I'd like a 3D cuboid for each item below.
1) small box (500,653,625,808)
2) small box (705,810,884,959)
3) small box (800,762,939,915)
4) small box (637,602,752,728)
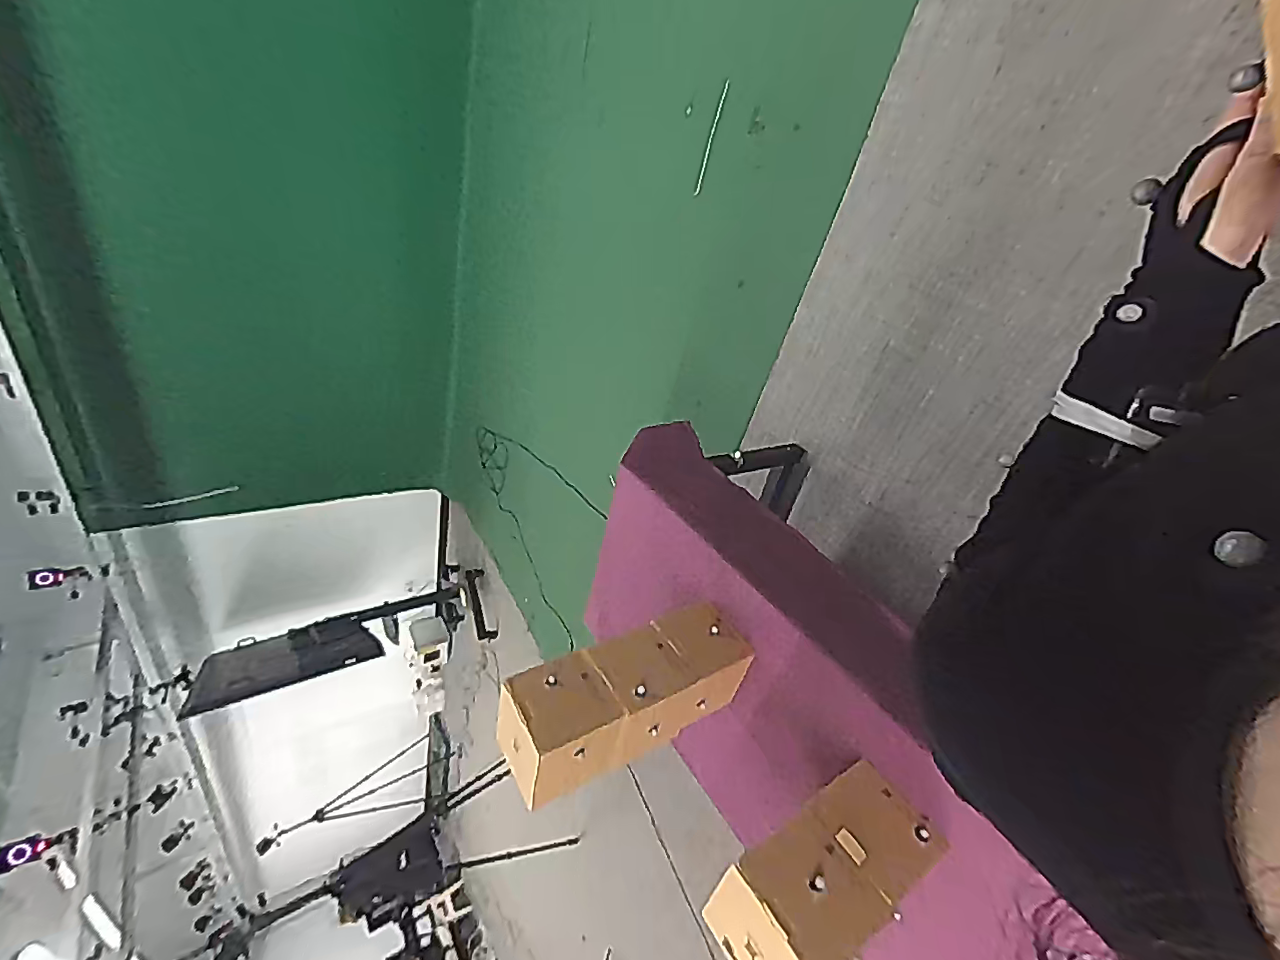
[{"bbox_3d":[-0.146,0.456,1.009,0.168,0.176,0.179,43,132,41],"label":"small box"},{"bbox_3d":[0.230,0.641,0.809,0.168,0.176,0.179,45,131,41],"label":"small box"},{"bbox_3d":[0.362,0.615,0.904,0.168,0.176,0.179,43,132,41],"label":"small box"},{"bbox_3d":[0.120,0.400,1.193,0.168,0.176,0.179,45,132,39],"label":"small box"}]
